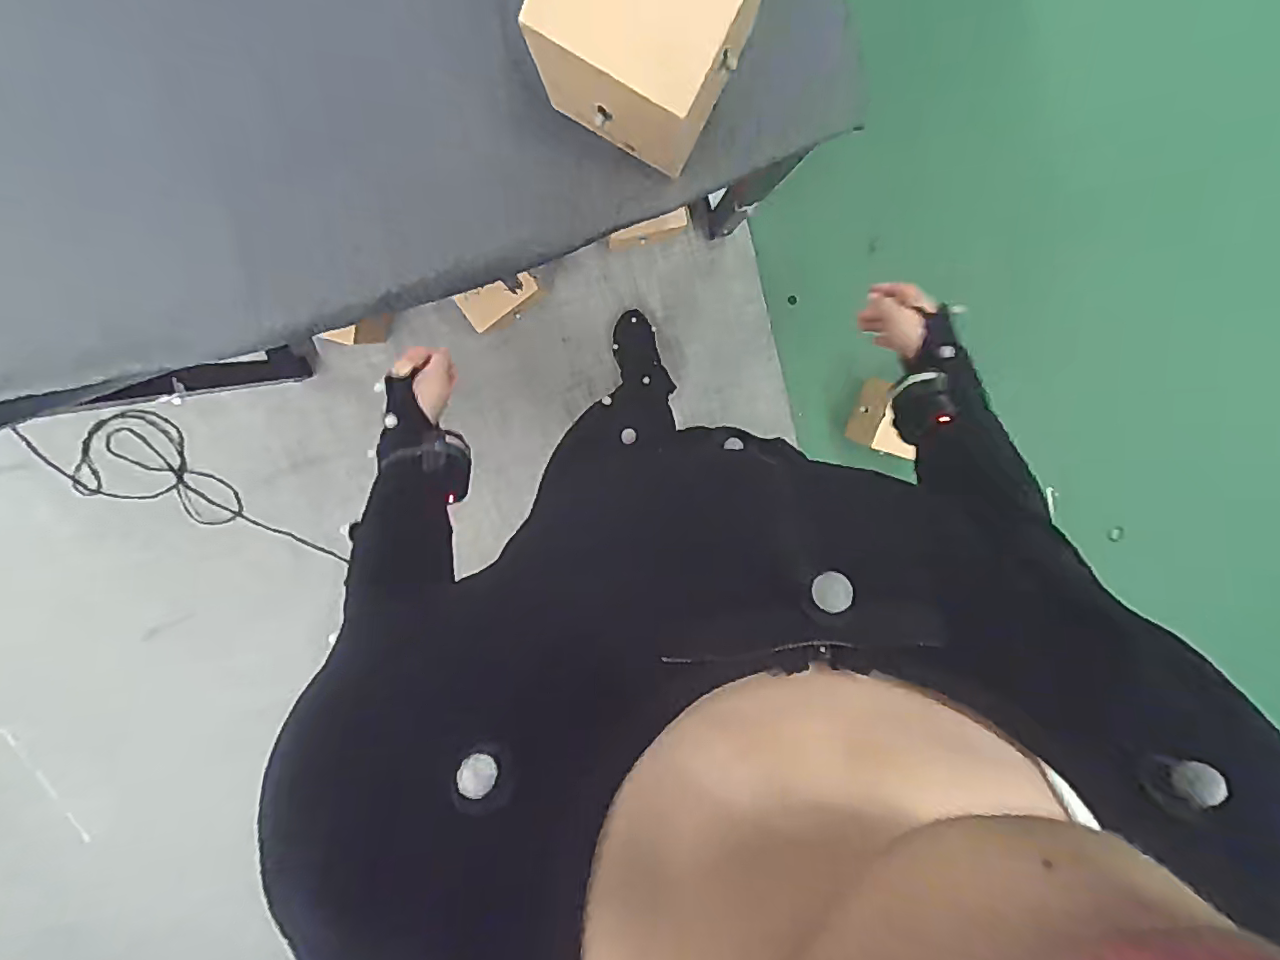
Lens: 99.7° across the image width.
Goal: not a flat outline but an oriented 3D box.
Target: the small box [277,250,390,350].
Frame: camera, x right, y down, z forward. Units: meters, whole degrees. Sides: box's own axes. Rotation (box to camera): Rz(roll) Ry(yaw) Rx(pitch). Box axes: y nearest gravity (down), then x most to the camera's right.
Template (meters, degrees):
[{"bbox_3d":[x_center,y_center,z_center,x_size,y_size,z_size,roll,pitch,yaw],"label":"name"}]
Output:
[{"bbox_3d":[-0.708,-0.413,1.266,0.168,0.176,0.179,15,103,-5],"label":"small box"}]

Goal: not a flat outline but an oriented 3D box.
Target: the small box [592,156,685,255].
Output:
[{"bbox_3d":[-0.003,-0.623,1.229,0.179,0.176,0.168,-12,105,0],"label":"small box"}]

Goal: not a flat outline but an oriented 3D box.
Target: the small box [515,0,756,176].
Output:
[{"bbox_3d":[0.007,-0.434,0.522,0.168,0.176,0.179,28,101,-5],"label":"small box"}]

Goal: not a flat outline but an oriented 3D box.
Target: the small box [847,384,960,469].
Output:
[{"bbox_3d":[0.656,-0.141,1.374,0.179,0.176,0.168,16,103,-5],"label":"small box"}]
